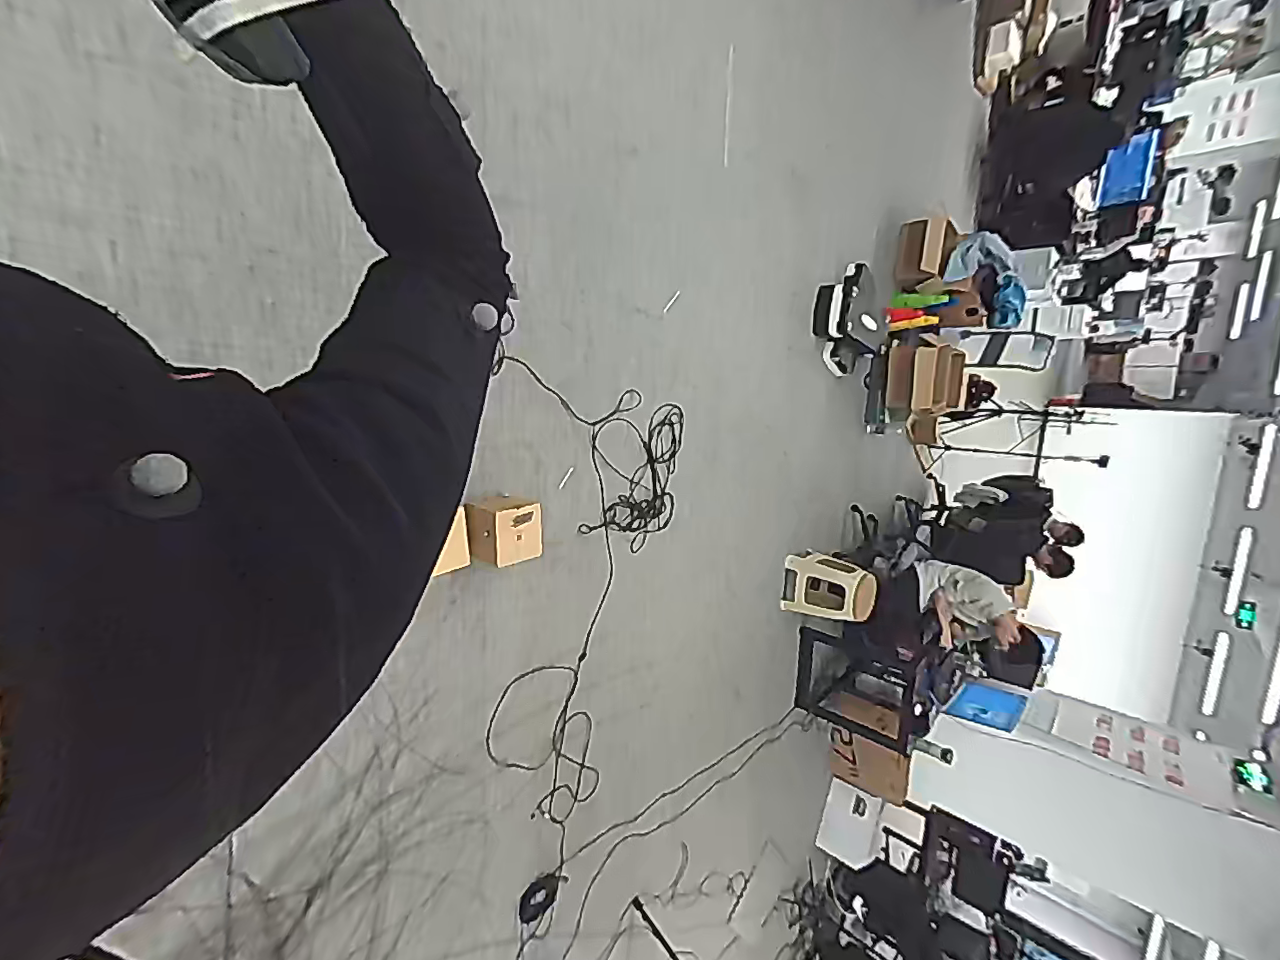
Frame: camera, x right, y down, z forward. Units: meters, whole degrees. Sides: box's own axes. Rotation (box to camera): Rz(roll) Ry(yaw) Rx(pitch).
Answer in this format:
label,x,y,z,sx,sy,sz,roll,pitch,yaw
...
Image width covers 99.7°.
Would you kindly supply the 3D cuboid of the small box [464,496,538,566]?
label,x,y,z,sx,sy,sz,roll,pitch,yaw
small box,-0.440,0.151,1.704,0.168,0.176,0.179,-12,107,-46
